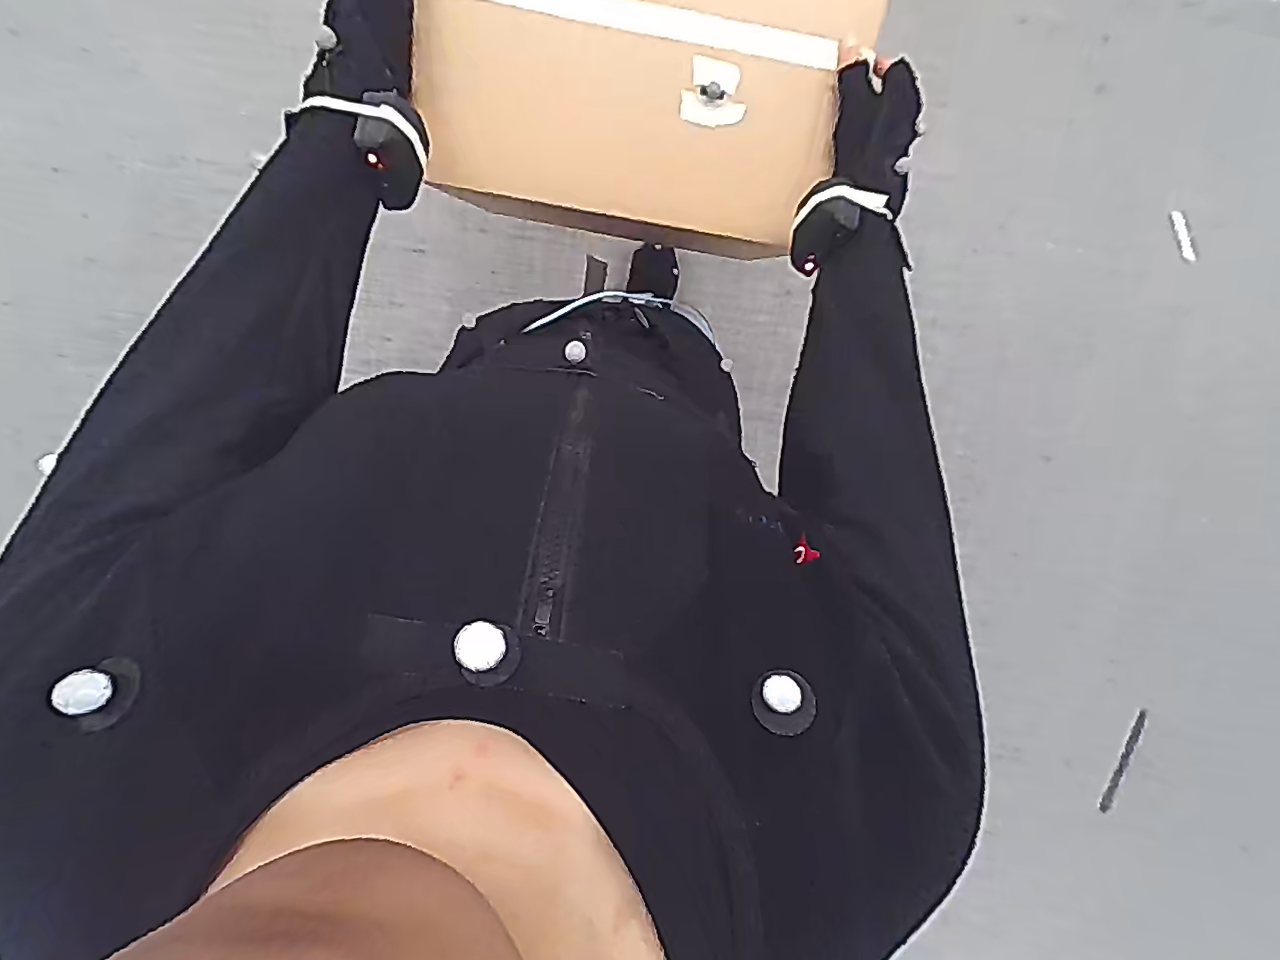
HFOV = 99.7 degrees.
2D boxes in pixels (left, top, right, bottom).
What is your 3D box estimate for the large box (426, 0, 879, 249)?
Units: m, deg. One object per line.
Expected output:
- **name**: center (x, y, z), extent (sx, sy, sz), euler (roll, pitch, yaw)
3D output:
- **large box**: center (0.003, -0.464, 0.621), extent (0.408, 0.320, 0.320), euler (7, 111, -6)
